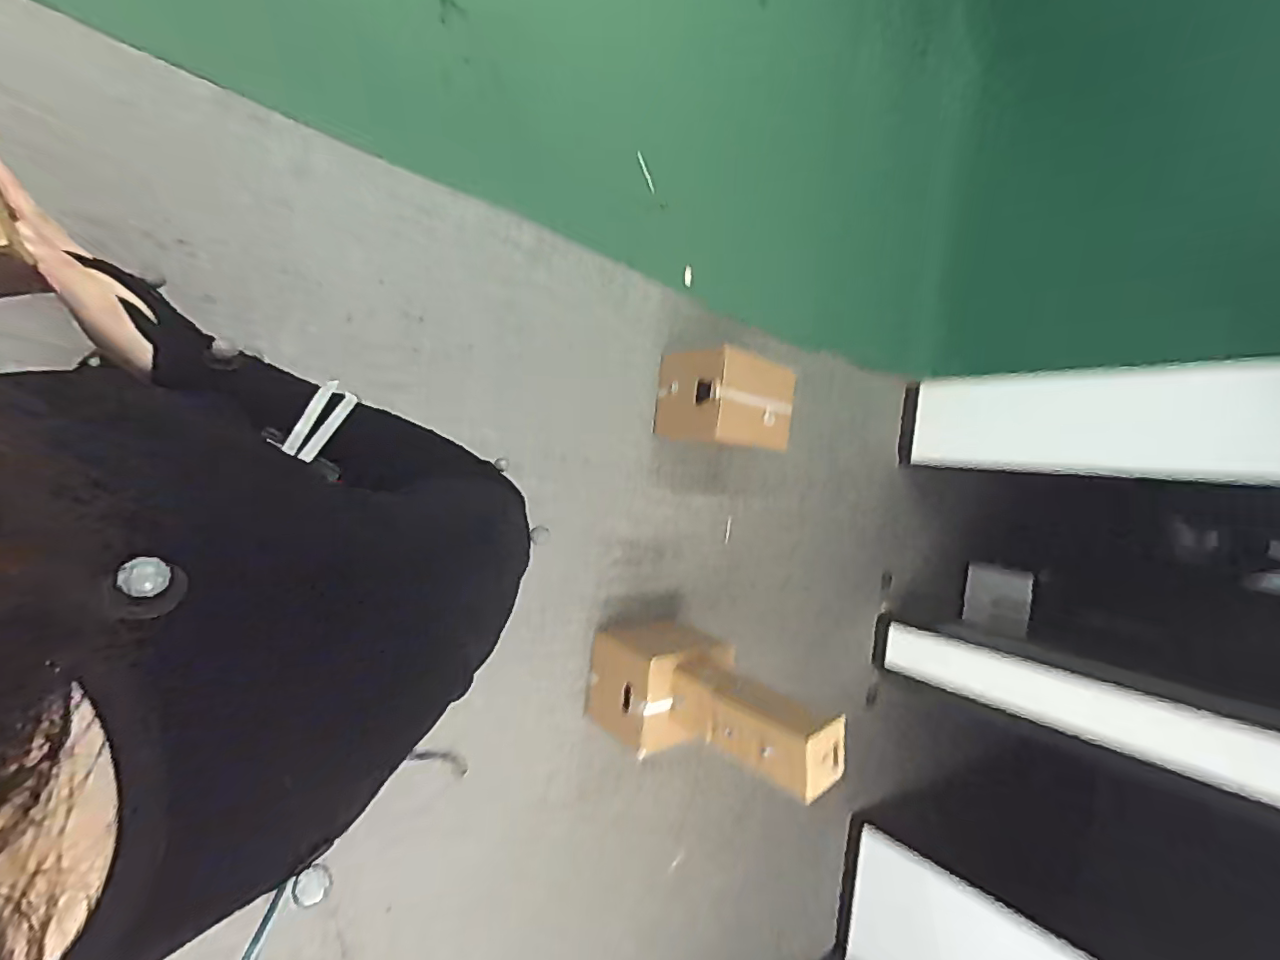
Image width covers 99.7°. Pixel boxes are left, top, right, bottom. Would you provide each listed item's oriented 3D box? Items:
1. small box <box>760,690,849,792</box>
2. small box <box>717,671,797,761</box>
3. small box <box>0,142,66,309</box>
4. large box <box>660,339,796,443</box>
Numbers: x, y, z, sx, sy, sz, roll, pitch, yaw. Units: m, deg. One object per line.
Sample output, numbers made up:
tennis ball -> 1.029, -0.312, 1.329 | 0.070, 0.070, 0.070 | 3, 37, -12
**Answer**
small box -> 0.449, 0.701, 1.478 | 0.179, 0.176, 0.168 | -7, 97, -38
small box -> 0.344, 0.691, 1.606 | 0.179, 0.176, 0.168 | -6, 97, -38
small box -> -0.437, -0.173, 0.262 | 0.168, 0.176, 0.179 | -27, 116, -35
large box -> 0.324, -0.310, 2.002 | 0.408, 0.320, 0.320 | 5, 92, -40
